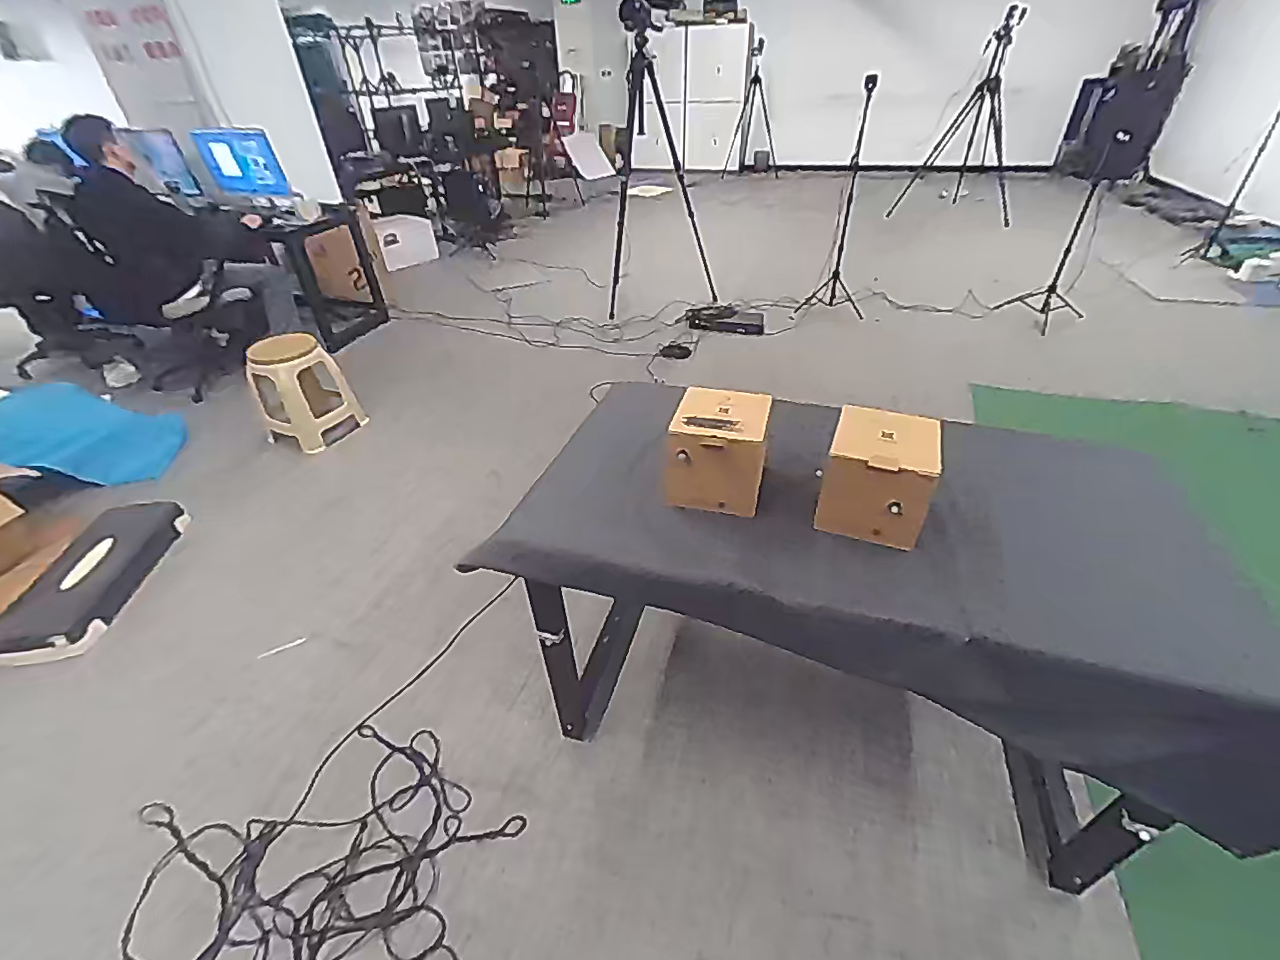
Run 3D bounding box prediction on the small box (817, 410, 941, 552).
[{"bbox_3d":[0.418,0.000,0.955,0.168,0.176,0.179,14,38,19],"label":"small box"}]
